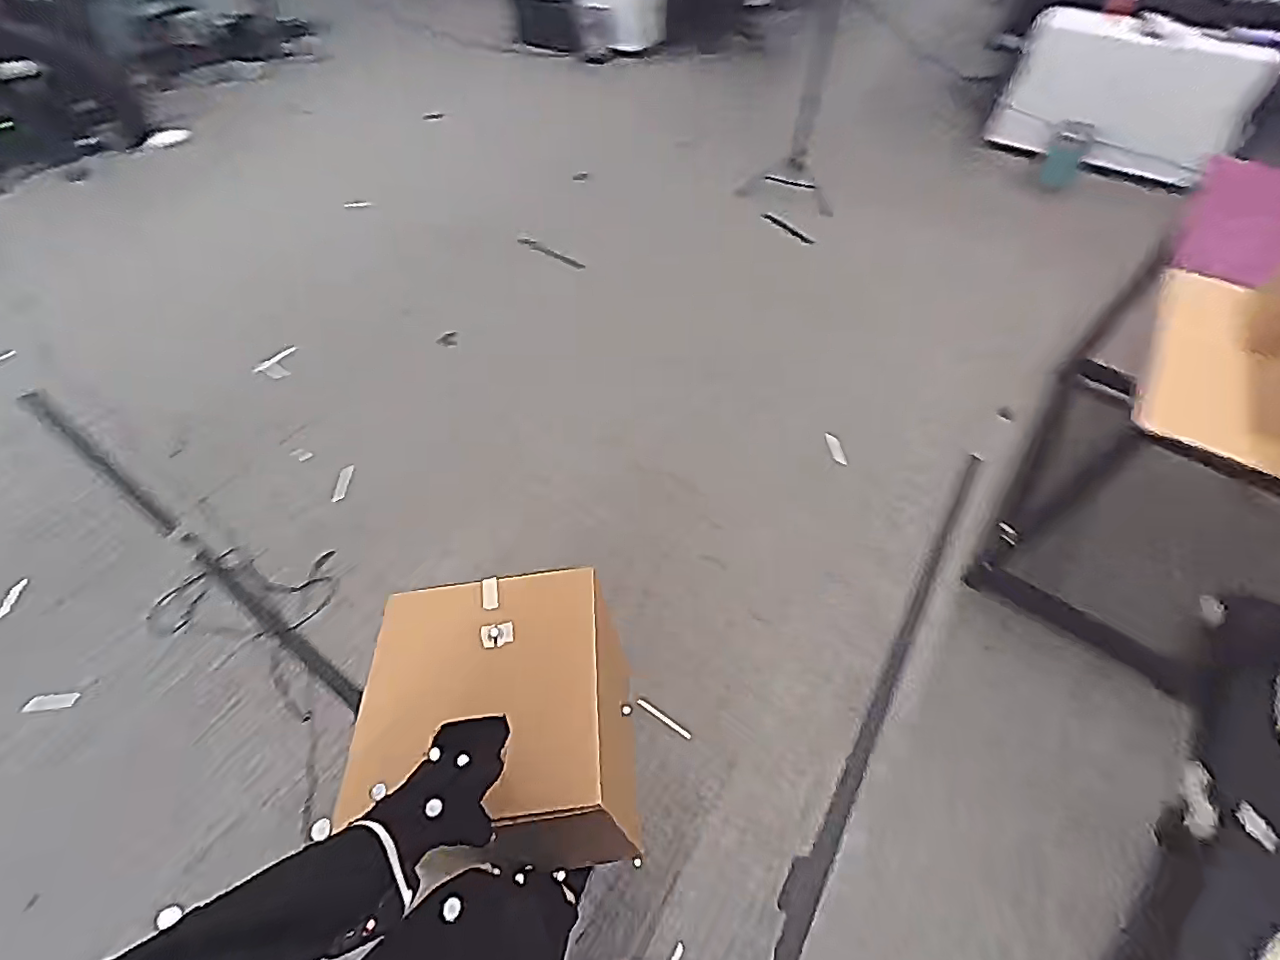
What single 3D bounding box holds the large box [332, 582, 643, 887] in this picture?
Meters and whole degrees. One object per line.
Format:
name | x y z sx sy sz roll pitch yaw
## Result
large box | -0.189 0.408 0.842 0.320 0.408 0.320 -9 49 1
